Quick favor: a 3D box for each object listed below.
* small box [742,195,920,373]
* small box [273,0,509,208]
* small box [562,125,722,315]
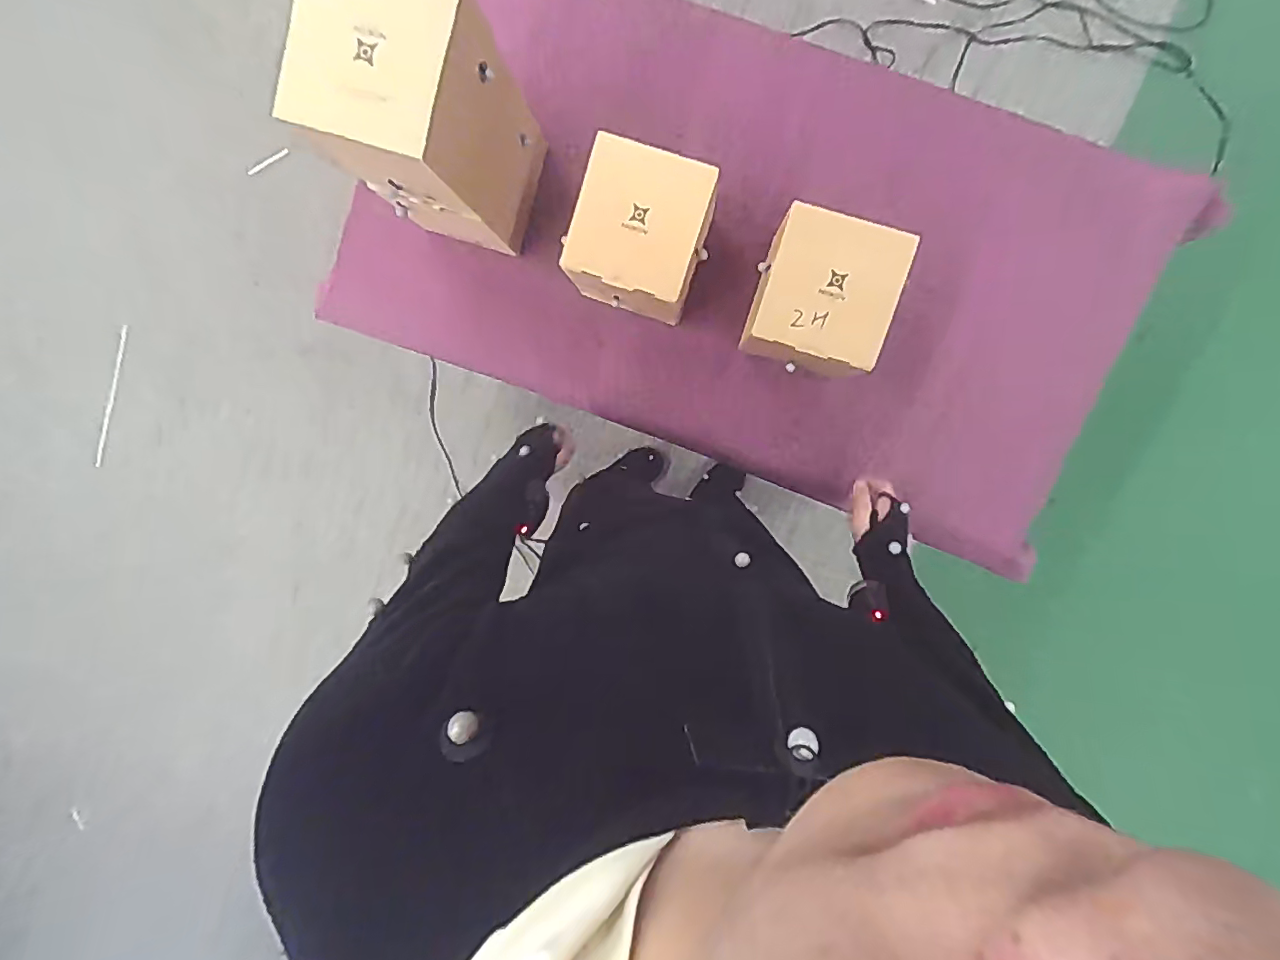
[{"bbox_3d":[0.253,-0.262,0.765,0.168,0.176,0.179,18,99,2],"label":"small box"},{"bbox_3d":[-0.263,-0.445,0.611,0.168,0.176,0.179,18,98,2],"label":"small box"},{"bbox_3d":[0.005,-0.354,0.773,0.168,0.176,0.179,19,99,1],"label":"small box"}]
